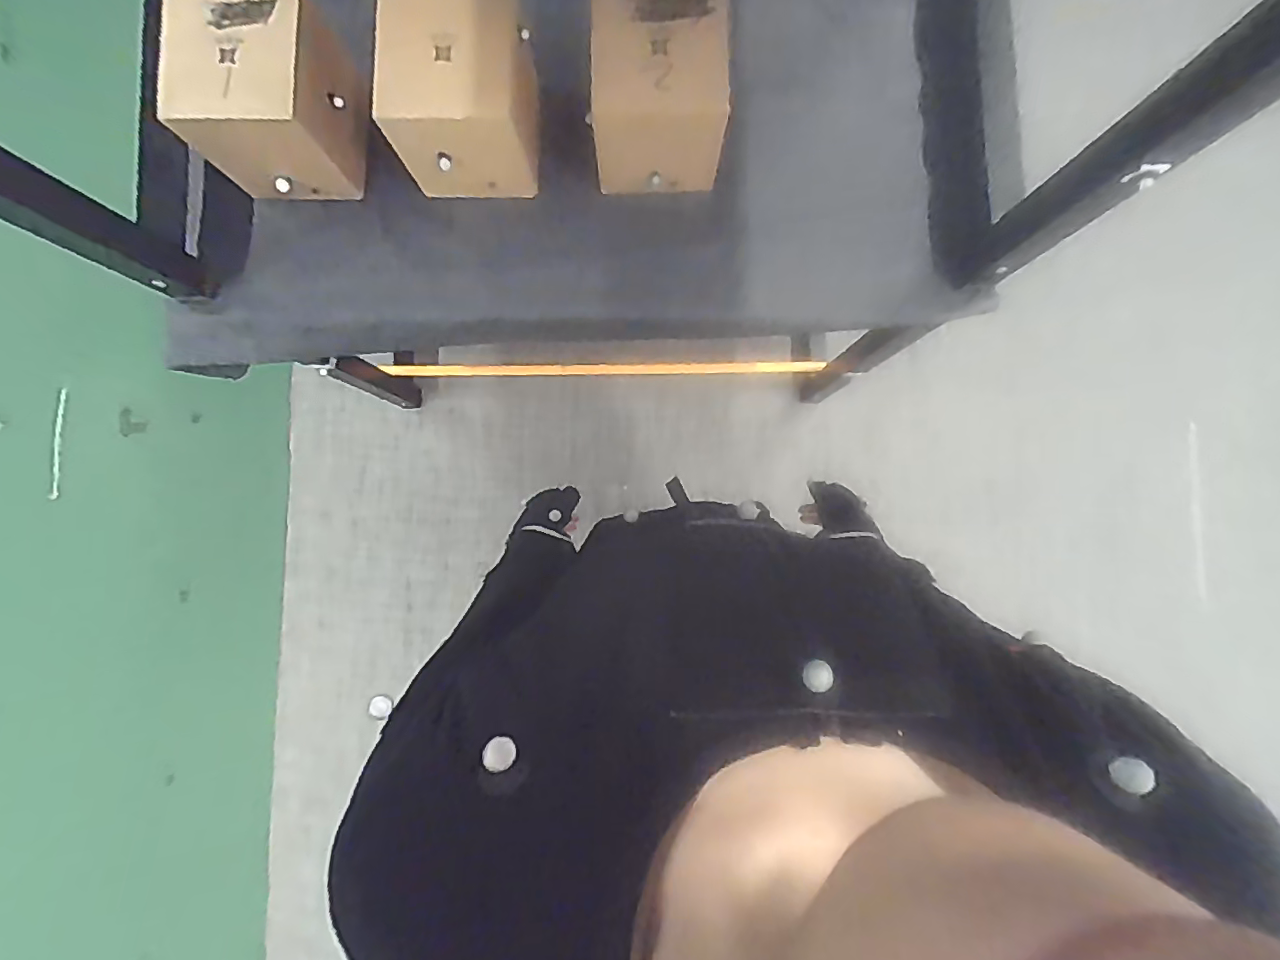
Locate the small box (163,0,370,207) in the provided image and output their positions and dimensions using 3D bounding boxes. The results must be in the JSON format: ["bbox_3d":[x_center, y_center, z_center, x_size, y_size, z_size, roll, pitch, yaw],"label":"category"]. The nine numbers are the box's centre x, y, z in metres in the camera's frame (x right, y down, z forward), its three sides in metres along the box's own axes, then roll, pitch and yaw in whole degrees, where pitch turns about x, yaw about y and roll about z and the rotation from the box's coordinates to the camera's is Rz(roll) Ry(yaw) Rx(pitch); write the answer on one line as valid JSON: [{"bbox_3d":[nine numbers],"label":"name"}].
[{"bbox_3d":[-0.488,-0.503,0.733,0.168,0.176,0.179,1,87,0],"label":"small box"}]

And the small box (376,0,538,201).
[{"bbox_3d":[-0.235,-0.505,0.734,0.168,0.176,0.179,0,86,0],"label":"small box"}]
